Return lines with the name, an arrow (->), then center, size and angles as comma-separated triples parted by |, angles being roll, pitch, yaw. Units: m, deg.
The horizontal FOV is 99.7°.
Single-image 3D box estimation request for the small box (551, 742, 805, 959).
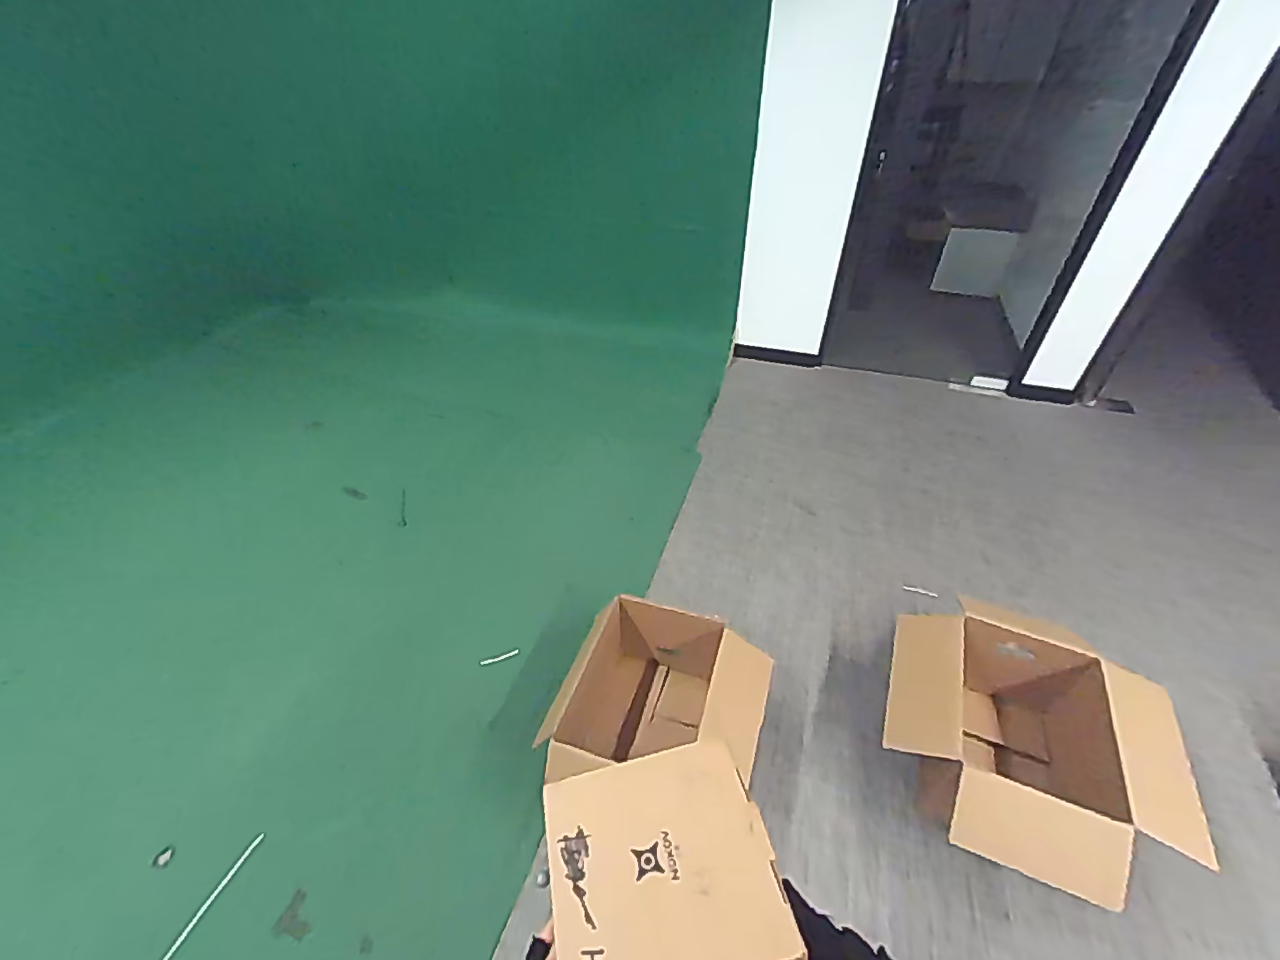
small box -> 0.023, 0.370, 0.482 | 0.179, 0.176, 0.168 | -10, 35, -7
